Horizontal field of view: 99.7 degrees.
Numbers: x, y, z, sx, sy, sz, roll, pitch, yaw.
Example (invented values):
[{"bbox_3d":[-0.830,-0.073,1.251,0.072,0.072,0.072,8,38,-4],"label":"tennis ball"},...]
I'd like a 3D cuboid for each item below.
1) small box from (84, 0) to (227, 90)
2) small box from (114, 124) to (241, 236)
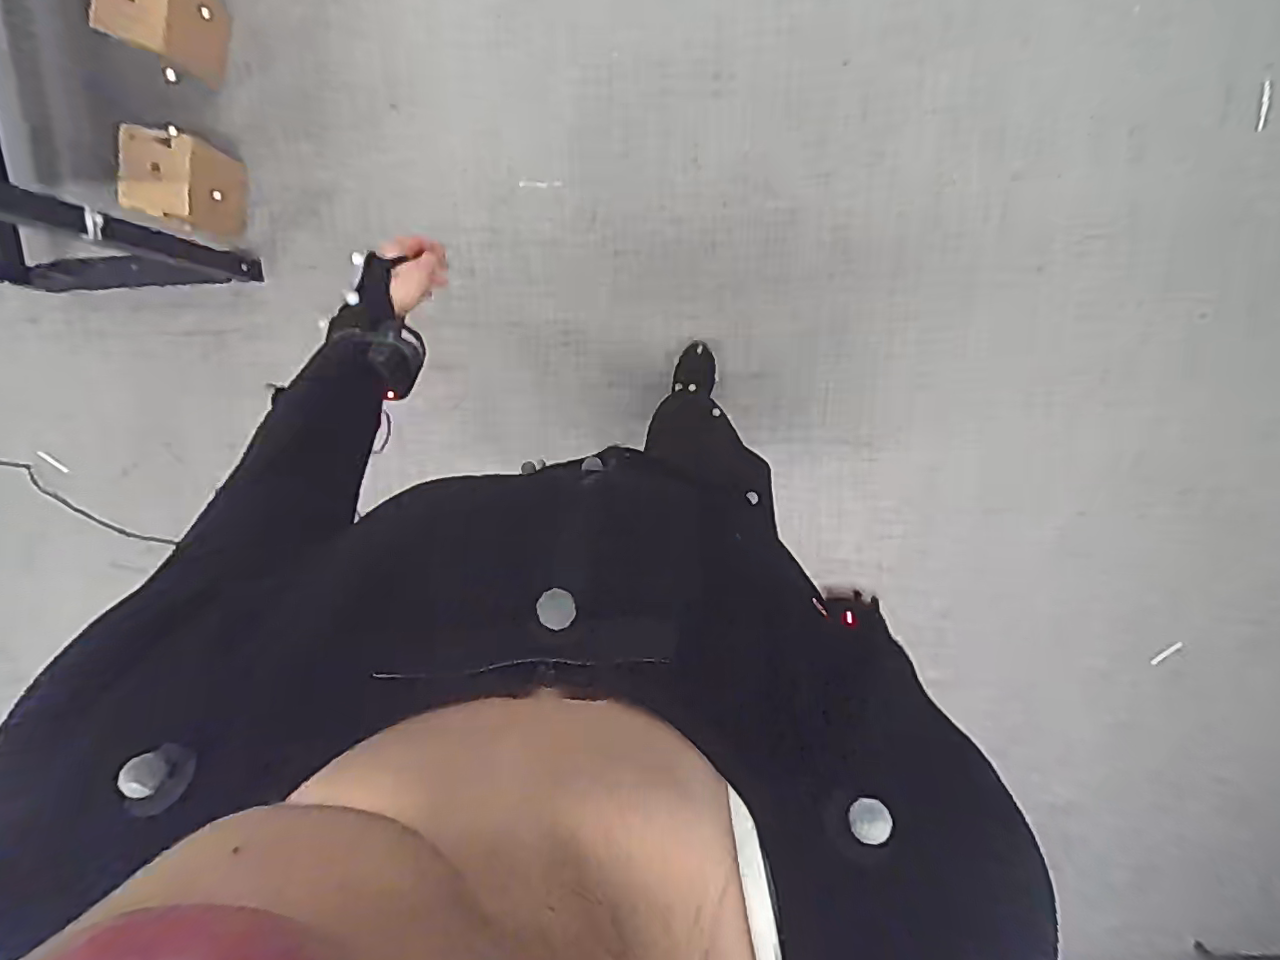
[{"bbox_3d":[-1.087,-1.043,1.226,0.168,0.176,0.179,18,101,-2],"label":"small box"},{"bbox_3d":[-1.090,-0.700,1.285,0.168,0.176,0.179,10,100,-1],"label":"small box"}]
